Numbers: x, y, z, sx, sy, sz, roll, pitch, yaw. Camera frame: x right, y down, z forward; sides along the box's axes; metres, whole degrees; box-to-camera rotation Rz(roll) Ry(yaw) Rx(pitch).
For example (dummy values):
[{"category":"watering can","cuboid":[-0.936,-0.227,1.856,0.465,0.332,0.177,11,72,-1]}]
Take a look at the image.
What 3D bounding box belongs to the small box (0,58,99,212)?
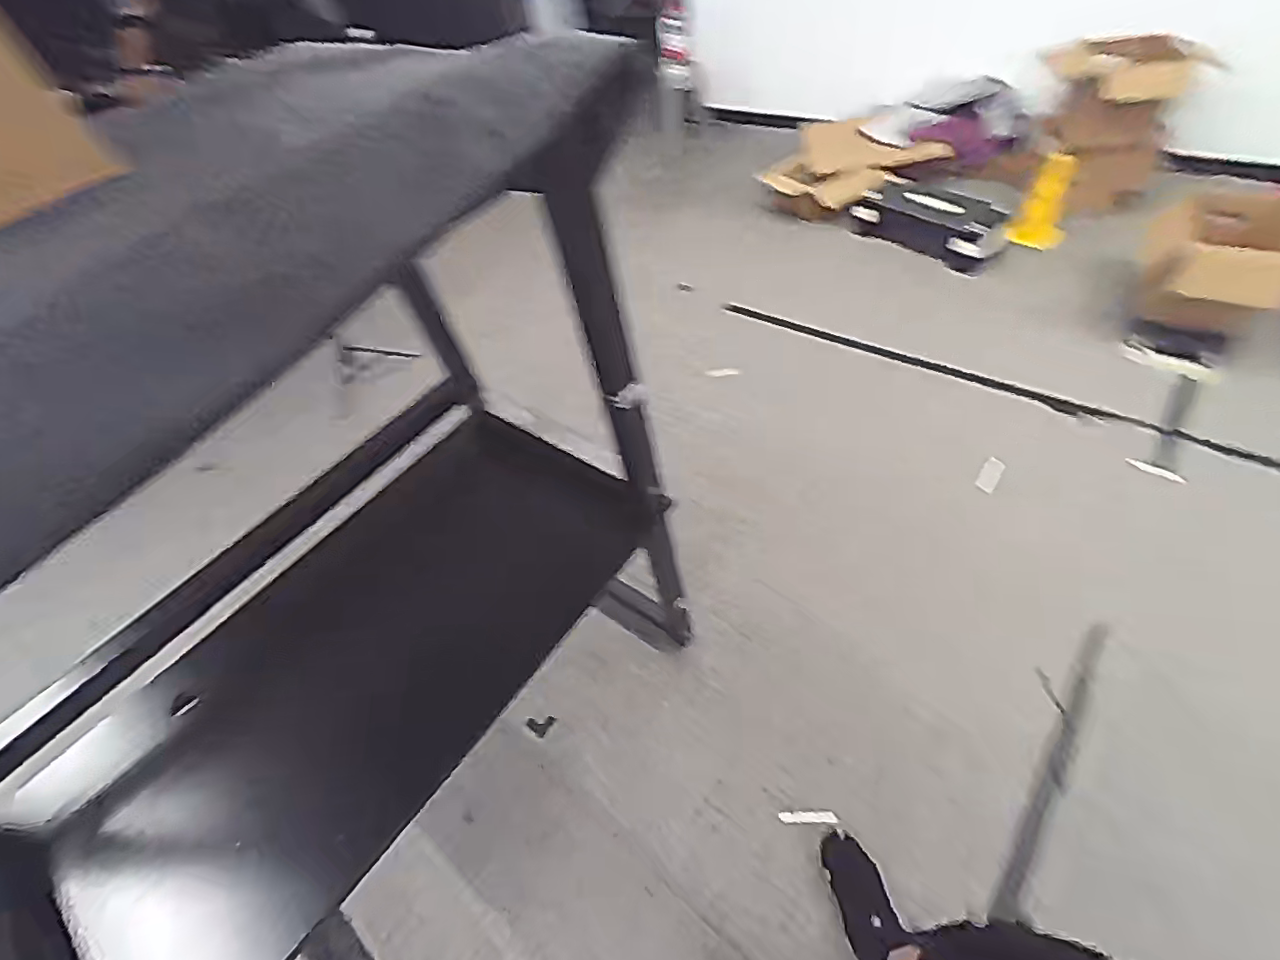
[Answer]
[{"category":"small box","cuboid":[-0.664,-0.333,0.482,0.168,0.176,0.179,28,62,28]}]
